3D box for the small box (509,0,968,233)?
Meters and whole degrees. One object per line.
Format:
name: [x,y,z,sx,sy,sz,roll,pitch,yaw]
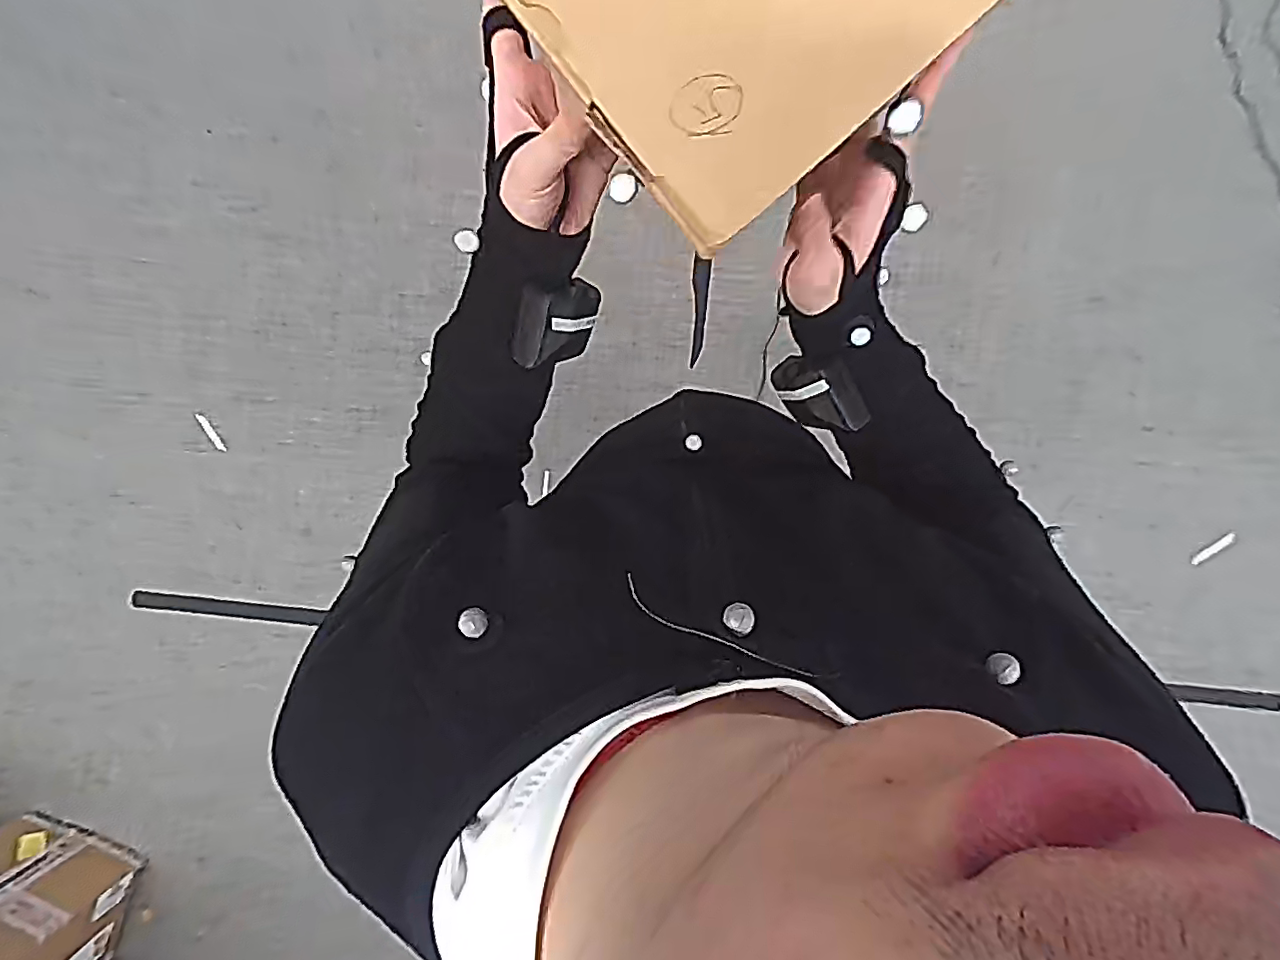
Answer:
small box: [0.041,-0.224,0.216,0.179,0.176,0.168,-39,105,19]
